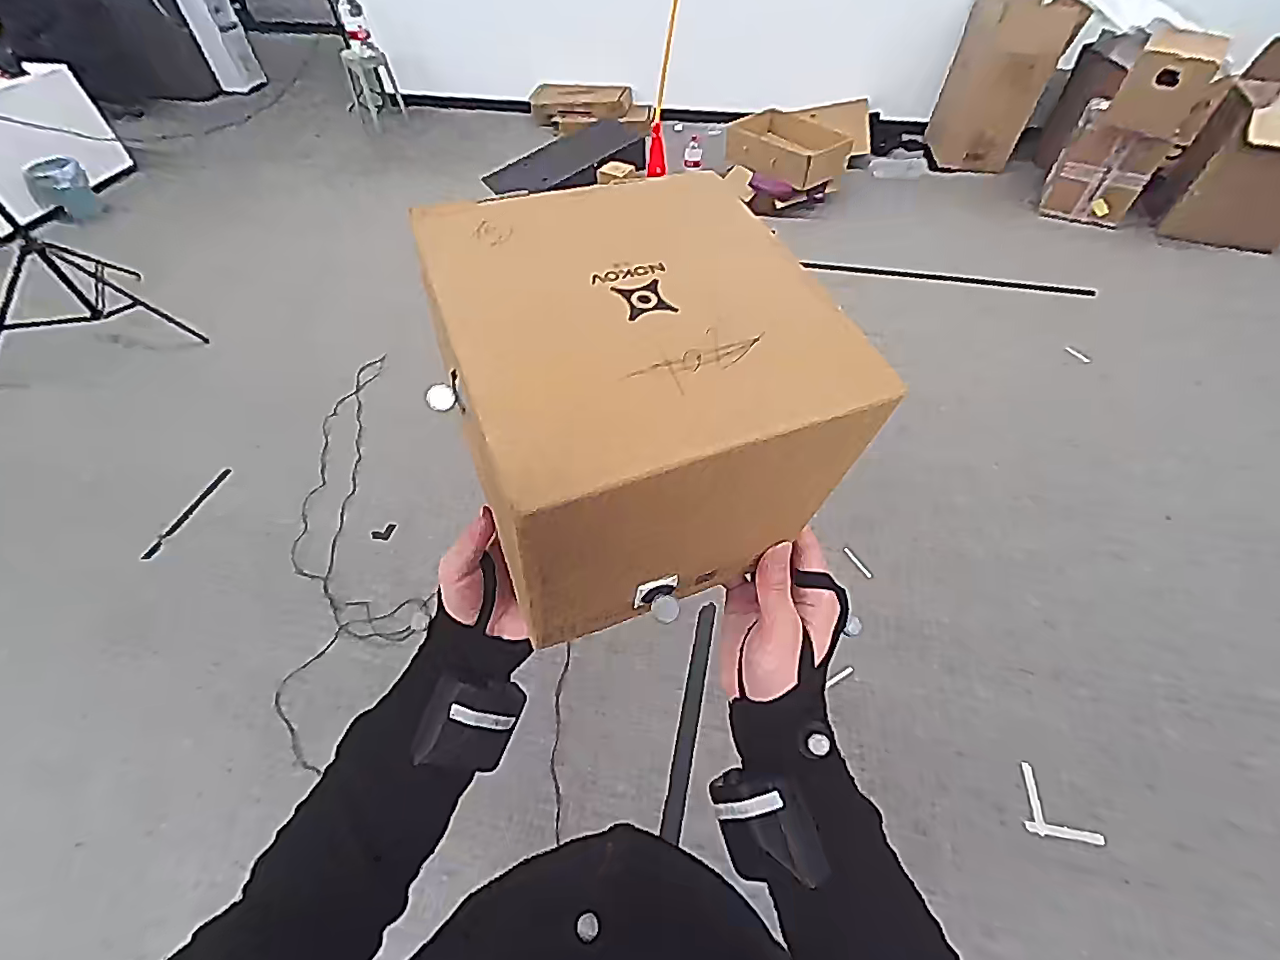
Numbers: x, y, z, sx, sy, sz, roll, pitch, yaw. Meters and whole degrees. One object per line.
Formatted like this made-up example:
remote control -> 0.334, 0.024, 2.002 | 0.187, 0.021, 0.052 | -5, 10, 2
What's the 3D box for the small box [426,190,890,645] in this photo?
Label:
small box -> -0.007, -0.032, 0.314 | 0.168, 0.176, 0.179 | -18, 62, -17
